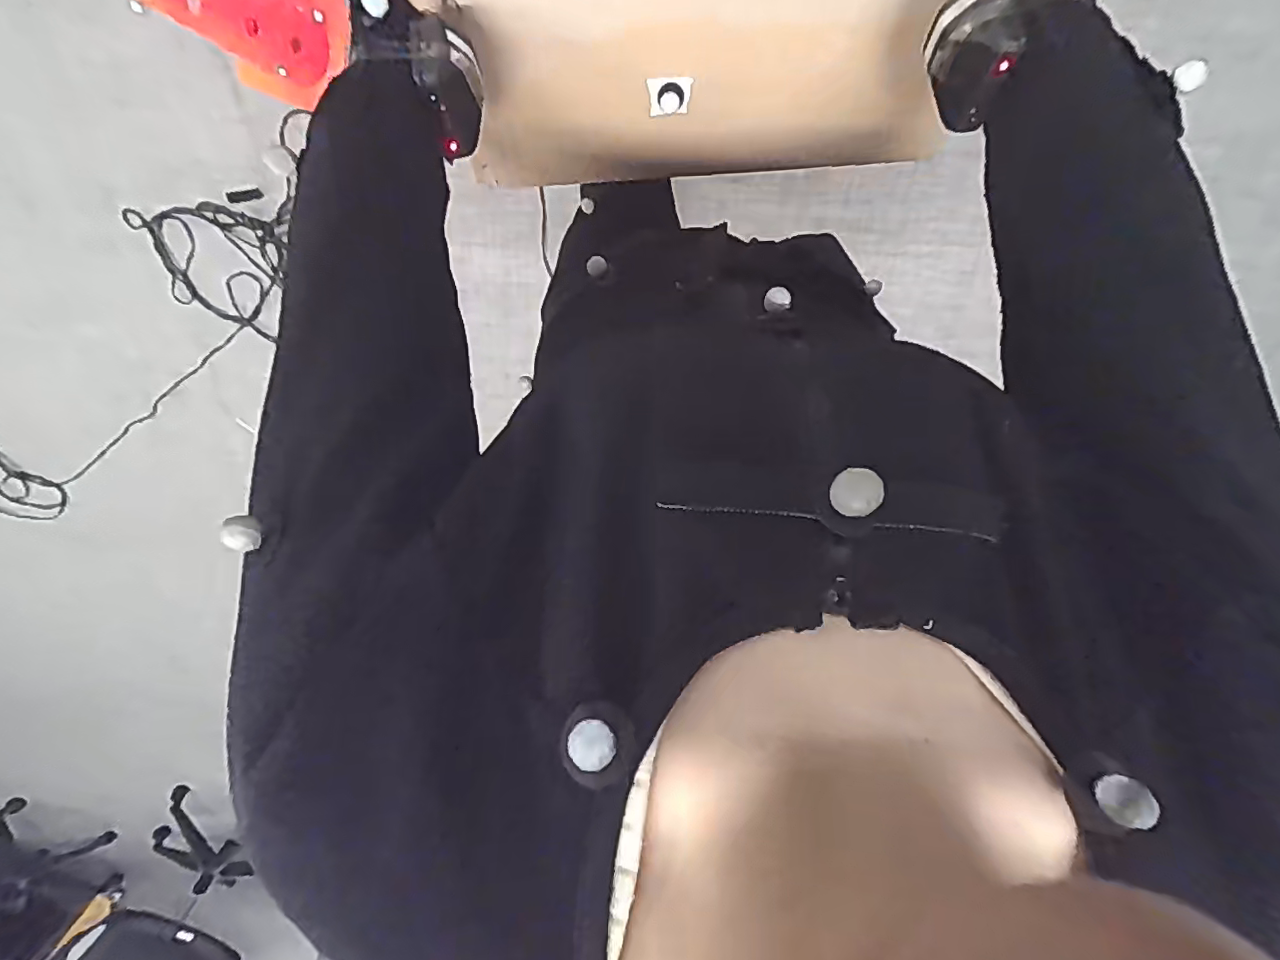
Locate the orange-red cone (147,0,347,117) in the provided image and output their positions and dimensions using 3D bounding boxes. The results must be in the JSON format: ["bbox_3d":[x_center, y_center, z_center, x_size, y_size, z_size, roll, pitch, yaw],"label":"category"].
[{"bbox_3d":[-0.671,-0.748,0.865,0.199,0.360,0.198,21,116,-7],"label":"orange-red cone"}]
